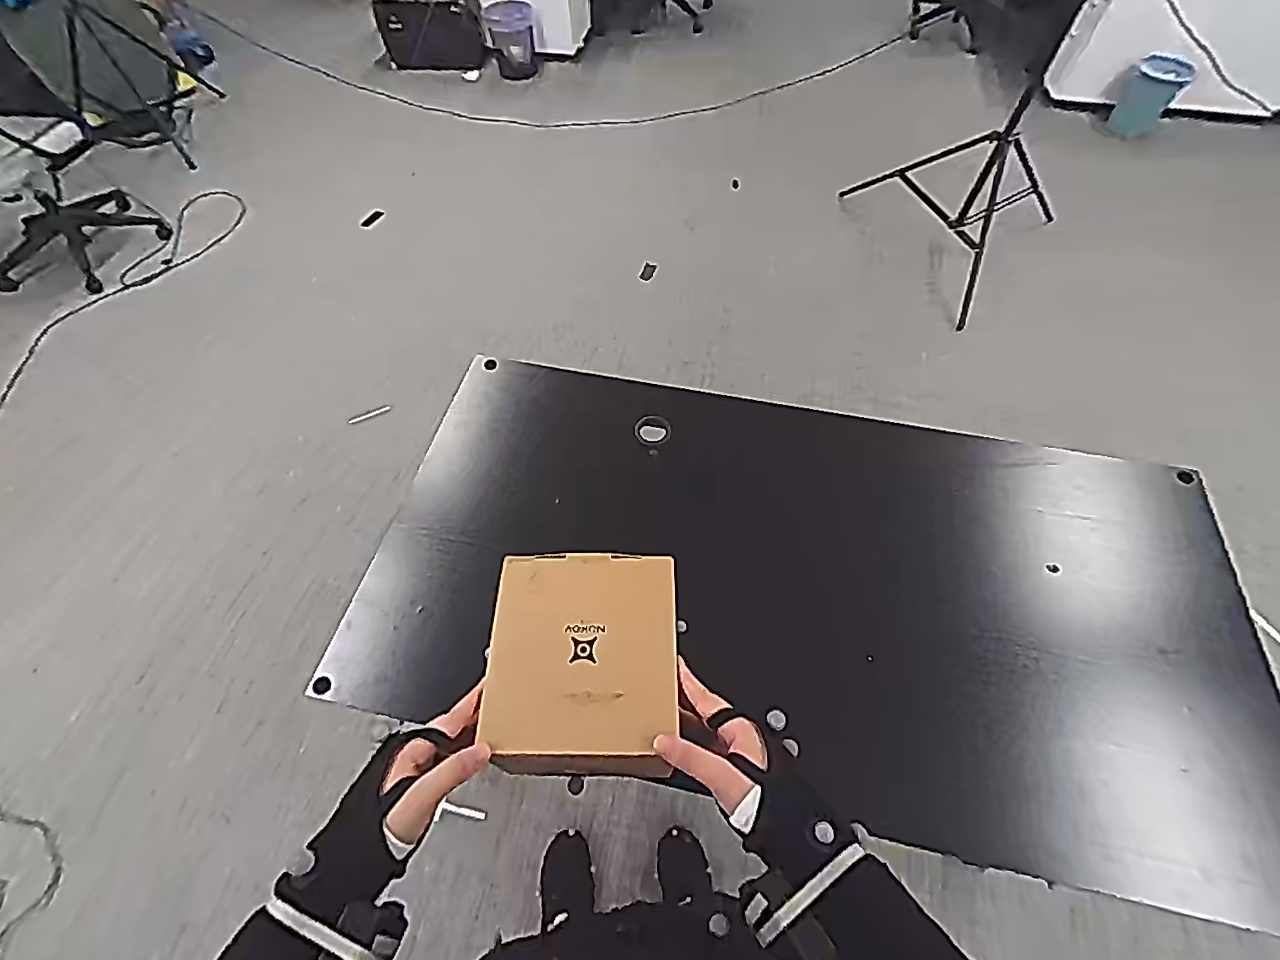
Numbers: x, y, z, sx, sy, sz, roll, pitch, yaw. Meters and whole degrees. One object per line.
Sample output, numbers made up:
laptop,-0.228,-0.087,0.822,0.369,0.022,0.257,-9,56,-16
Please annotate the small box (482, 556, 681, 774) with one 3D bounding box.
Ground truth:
small box,-0.048,0.192,0.551,0.168,0.176,0.179,-1,57,0
